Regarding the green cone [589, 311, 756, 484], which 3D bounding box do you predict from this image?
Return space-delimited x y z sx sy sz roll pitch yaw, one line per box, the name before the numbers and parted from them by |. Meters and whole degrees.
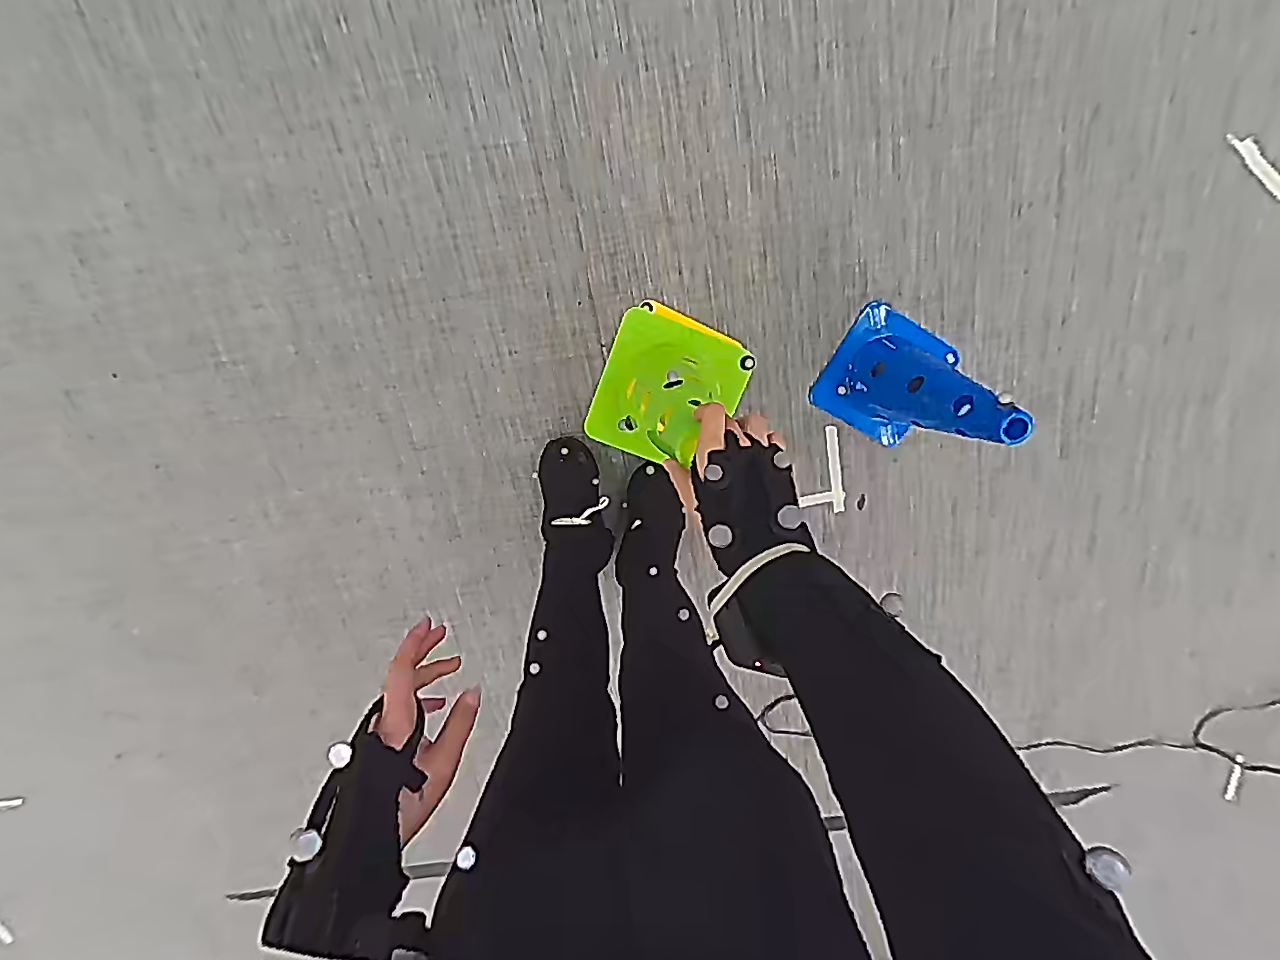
green cone | 0.046 -0.071 0.618 0.200 0.368 0.202 20 105 -6
